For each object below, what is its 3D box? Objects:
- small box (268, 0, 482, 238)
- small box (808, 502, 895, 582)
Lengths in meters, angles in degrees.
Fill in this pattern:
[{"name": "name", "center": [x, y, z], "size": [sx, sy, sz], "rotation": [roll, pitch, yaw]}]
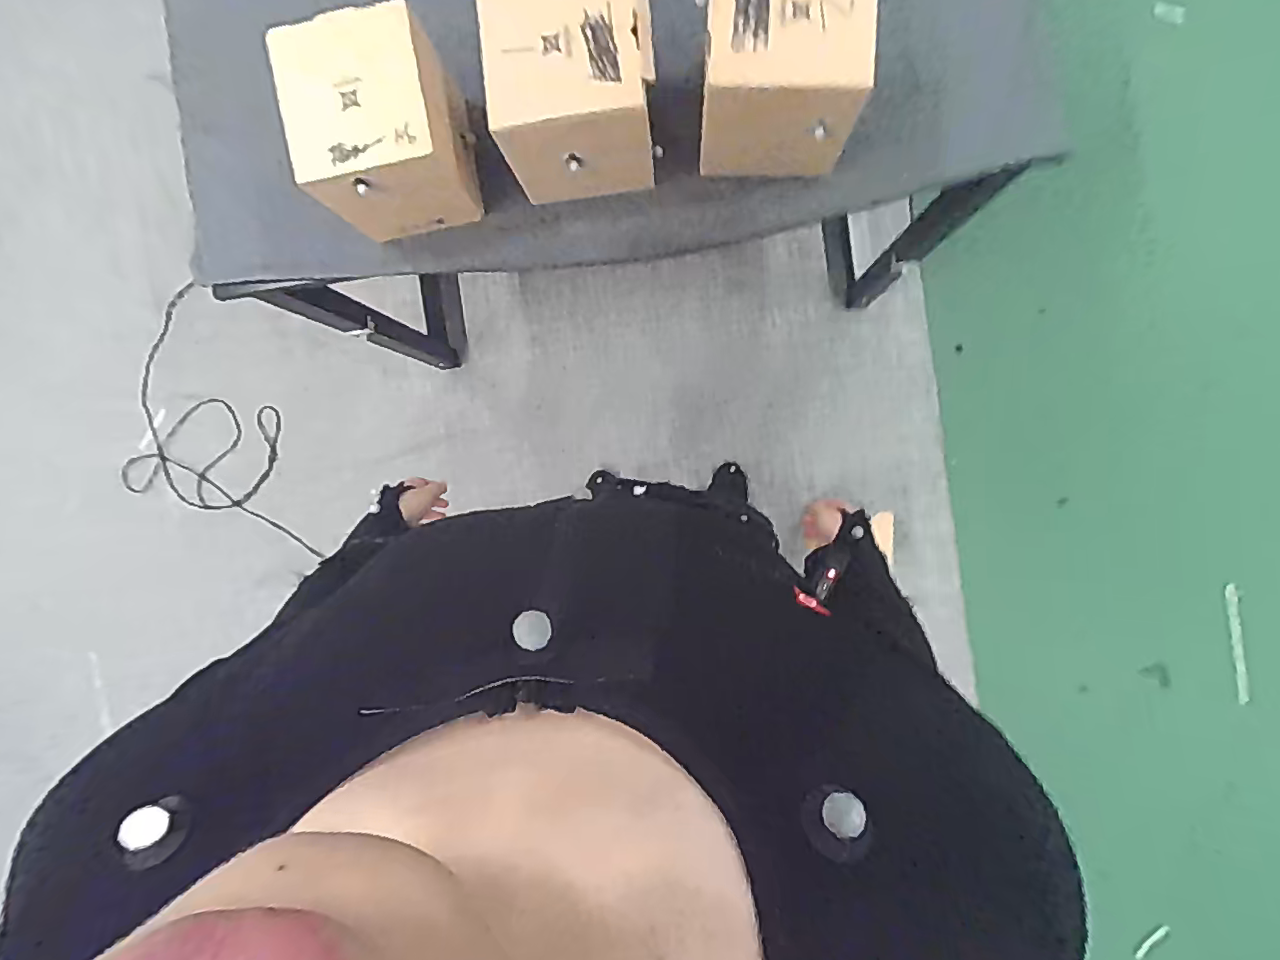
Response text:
[{"name": "small box", "center": [-0.318, -0.438, 0.681], "size": [0.168, 0.176, 0.179], "rotation": [-10, 91, 6]}, {"name": "small box", "center": [0.528, 0.151, 1.370], "size": [0.168, 0.176, 0.179], "rotation": [1, 92, 5]}]
